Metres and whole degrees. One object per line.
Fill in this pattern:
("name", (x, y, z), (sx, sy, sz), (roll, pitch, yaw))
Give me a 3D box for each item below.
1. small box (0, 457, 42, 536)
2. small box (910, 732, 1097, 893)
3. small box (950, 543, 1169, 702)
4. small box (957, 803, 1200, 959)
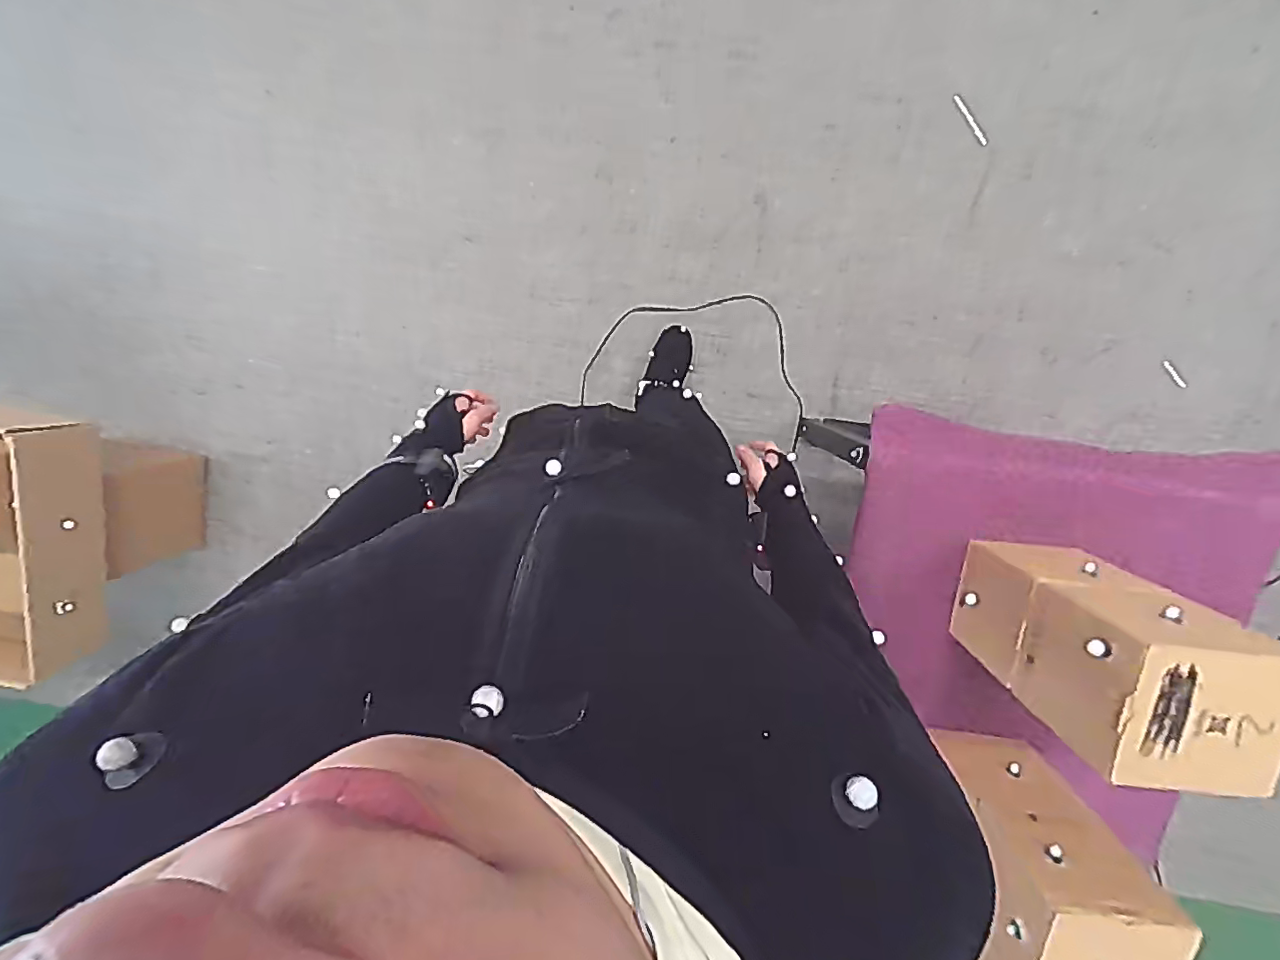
("small box", (-1.529, 0.039, 1.218), (0.179, 0.176, 0.168), (11, 100, -1))
("small box", (0.569, 0.537, 0.875), (0.179, 0.176, 0.168), (6, 102, 1))
("small box", (0.602, 0.200, 0.801), (0.179, 0.176, 0.168), (6, 102, 2))
("small box", (0.555, 0.569, 0.716), (0.168, 0.176, 0.179), (7, 103, 3))
